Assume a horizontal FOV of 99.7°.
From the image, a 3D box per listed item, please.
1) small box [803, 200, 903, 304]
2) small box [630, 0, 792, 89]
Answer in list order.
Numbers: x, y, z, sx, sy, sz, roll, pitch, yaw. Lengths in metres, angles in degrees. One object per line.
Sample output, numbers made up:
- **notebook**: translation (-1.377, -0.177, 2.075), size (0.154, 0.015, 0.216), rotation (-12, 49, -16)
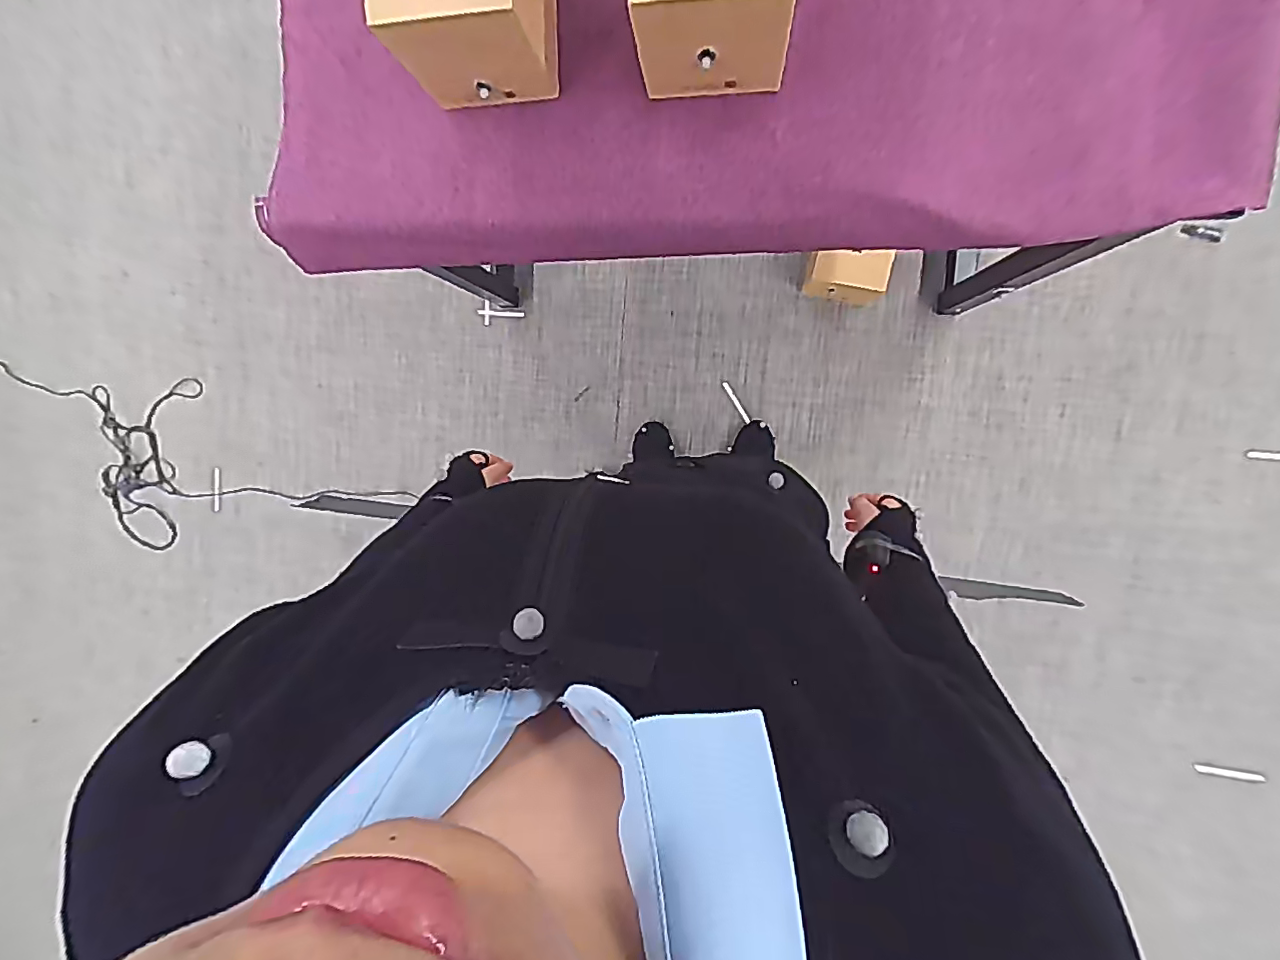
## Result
- **small box**: translation (0.495, -0.531, 1.284), size (0.168, 0.176, 0.179), rotation (13, 98, 7)
- **small box**: translation (0.085, -0.565, 0.596), size (0.168, 0.176, 0.179), rotation (3, 97, 7)
